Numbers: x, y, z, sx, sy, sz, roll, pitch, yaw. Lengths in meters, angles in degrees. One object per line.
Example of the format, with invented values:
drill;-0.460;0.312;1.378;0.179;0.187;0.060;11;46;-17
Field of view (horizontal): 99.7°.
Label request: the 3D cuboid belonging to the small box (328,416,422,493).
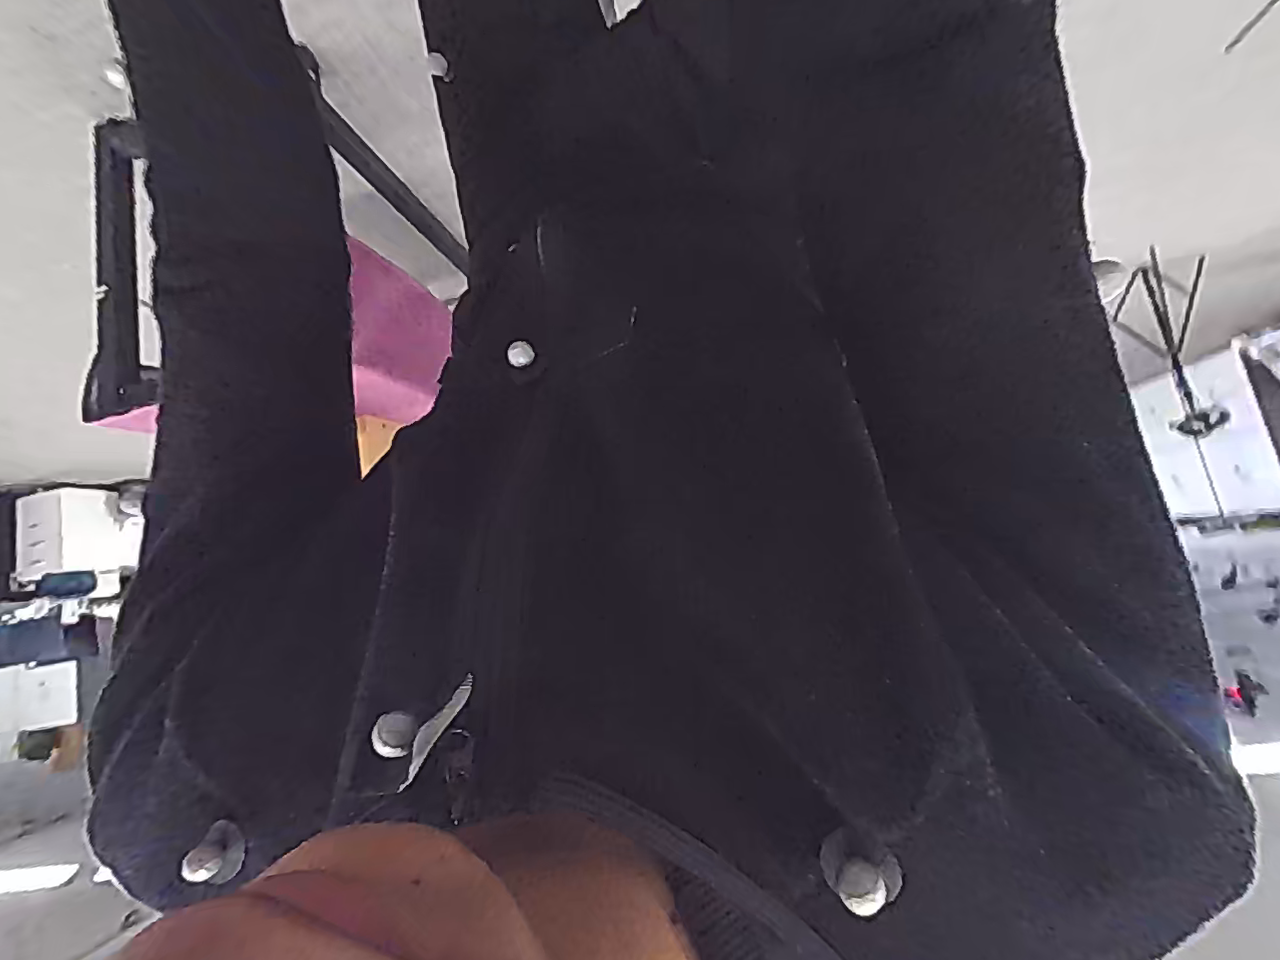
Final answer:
small box;-0.734;-0.067;1.482;0.179;0.176;0.168;-13;171;19
